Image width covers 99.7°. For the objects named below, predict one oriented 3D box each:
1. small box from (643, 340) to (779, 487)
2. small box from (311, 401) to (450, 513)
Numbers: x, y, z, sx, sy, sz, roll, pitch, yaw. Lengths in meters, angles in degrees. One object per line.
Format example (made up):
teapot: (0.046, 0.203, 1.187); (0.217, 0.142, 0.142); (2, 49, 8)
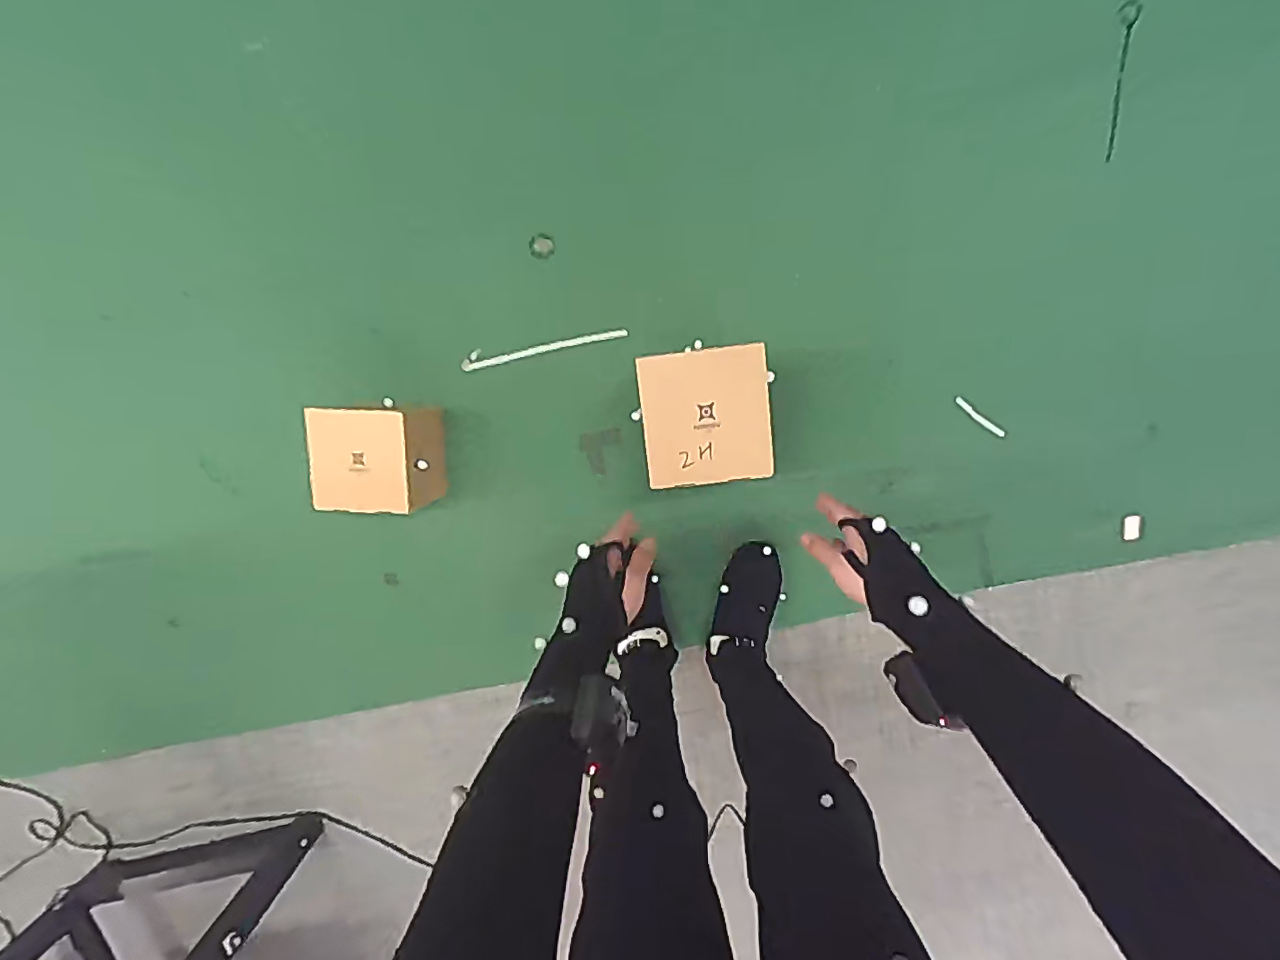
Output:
small box: (0.094, -0.097, 0.768); (0.168, 0.176, 0.179); (-6, 101, 4)
small box: (-0.455, -0.049, 0.974); (0.168, 0.176, 0.179); (2, 103, 2)
